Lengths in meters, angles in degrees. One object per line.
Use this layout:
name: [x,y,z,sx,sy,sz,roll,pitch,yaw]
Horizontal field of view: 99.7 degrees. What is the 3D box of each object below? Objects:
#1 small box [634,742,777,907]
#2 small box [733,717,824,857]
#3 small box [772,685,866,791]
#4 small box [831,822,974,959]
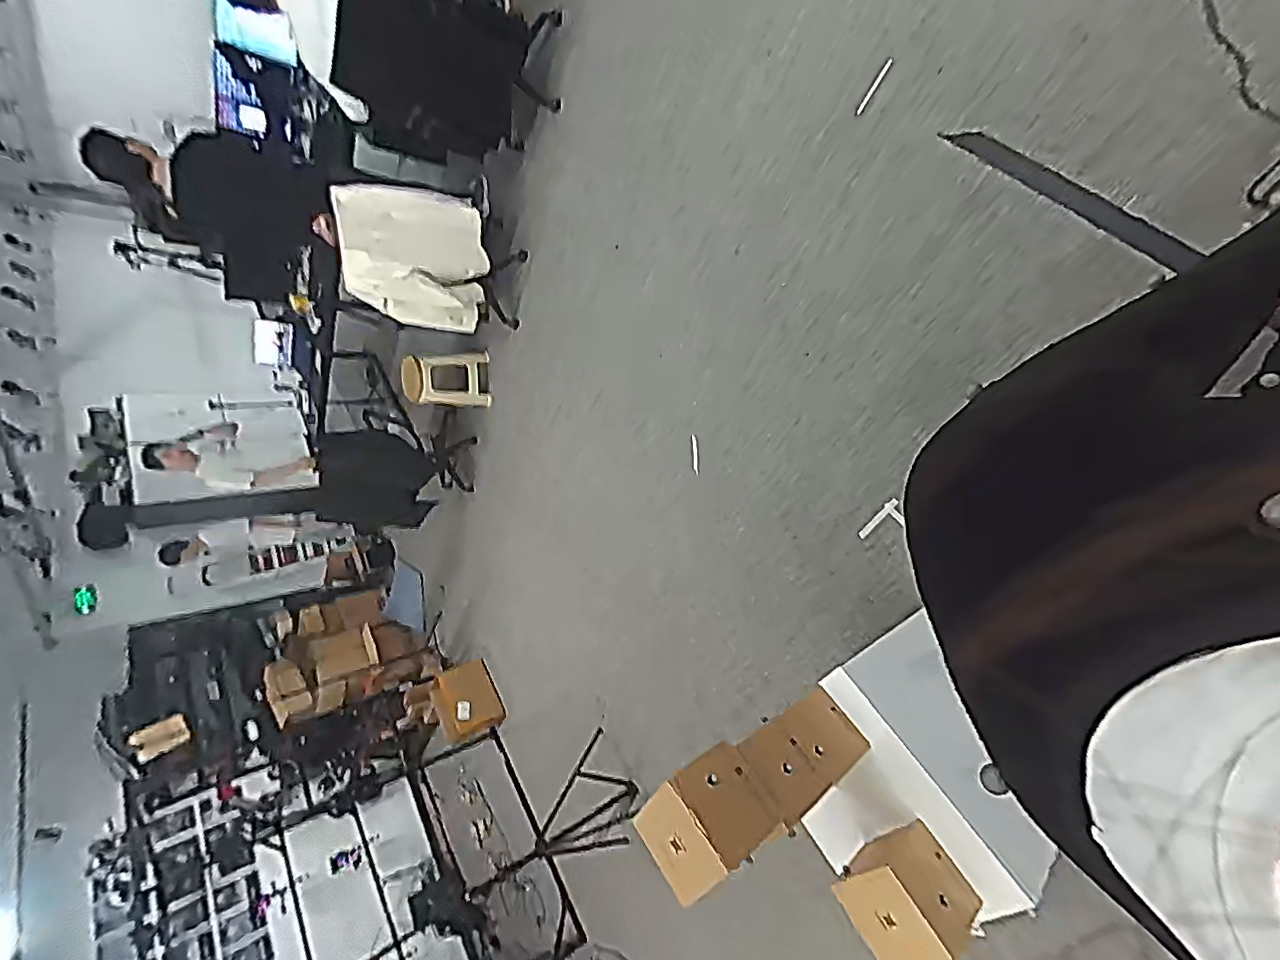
small box: [0.124,0.622,0.993,0.168,0.176,0.179,47,129,32]
small box: [0.246,0.619,1.102,0.168,0.176,0.179,51,131,28]
small box: [0.367,0.598,1.212,0.168,0.176,0.179,50,130,28]
small box: [0.529,0.825,1.079,0.168,0.176,0.179,54,132,27]
